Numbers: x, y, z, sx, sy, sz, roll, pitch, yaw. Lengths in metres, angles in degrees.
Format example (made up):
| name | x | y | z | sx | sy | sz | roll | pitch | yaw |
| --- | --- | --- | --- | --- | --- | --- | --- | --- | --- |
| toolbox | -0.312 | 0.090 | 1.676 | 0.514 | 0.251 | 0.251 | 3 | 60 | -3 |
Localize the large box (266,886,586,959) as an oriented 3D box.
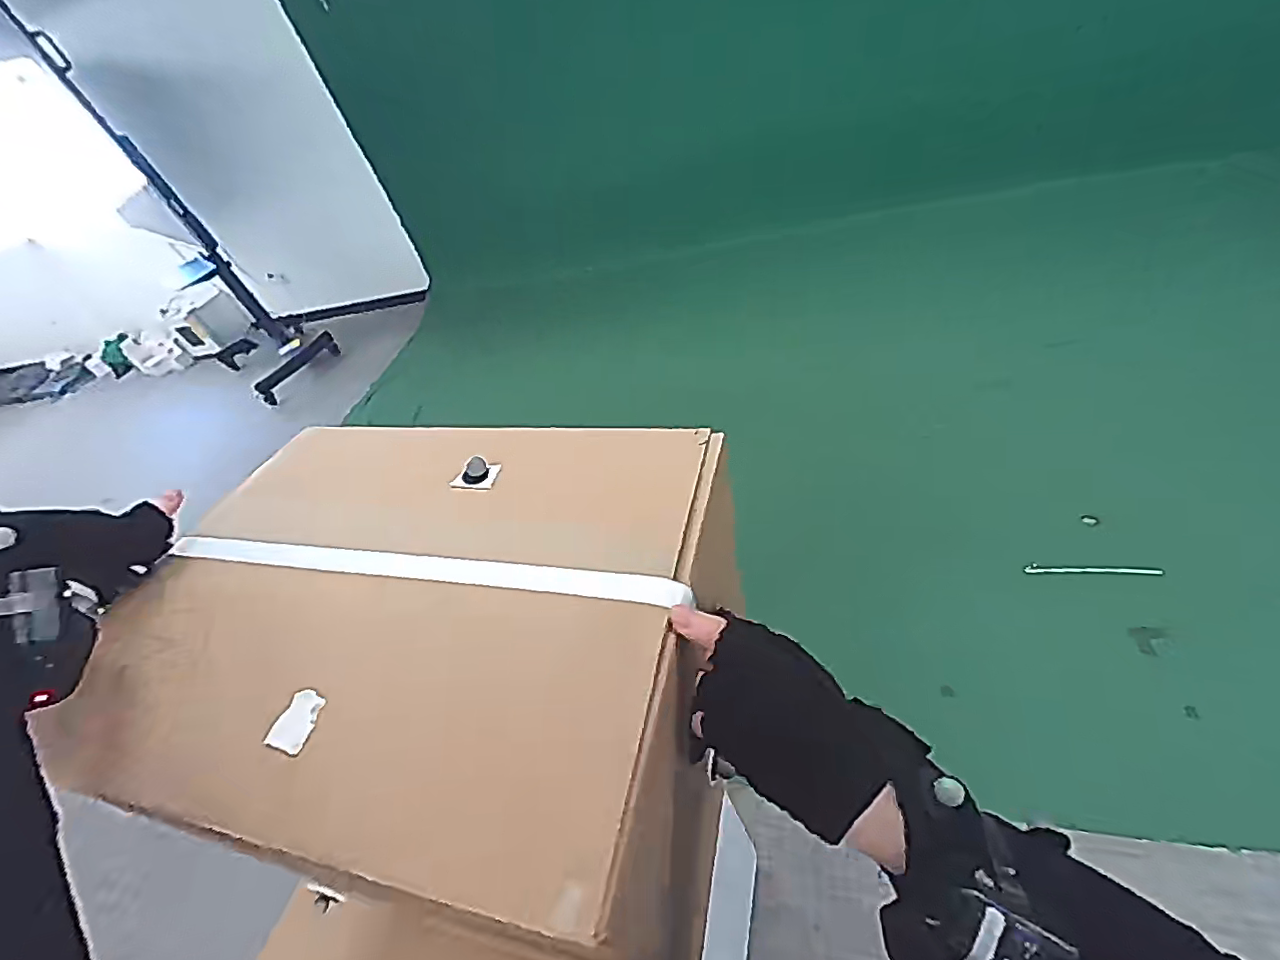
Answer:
| name | x | y | z | sx | sy | sz | roll | pitch | yaw |
| --- | --- | --- | --- | --- | --- | --- | --- | --- | --- |
| large box | -0.189 | 0.670 | 0.554 | 0.408 | 0.320 | 0.320 | -1 | 46 | 21 |
